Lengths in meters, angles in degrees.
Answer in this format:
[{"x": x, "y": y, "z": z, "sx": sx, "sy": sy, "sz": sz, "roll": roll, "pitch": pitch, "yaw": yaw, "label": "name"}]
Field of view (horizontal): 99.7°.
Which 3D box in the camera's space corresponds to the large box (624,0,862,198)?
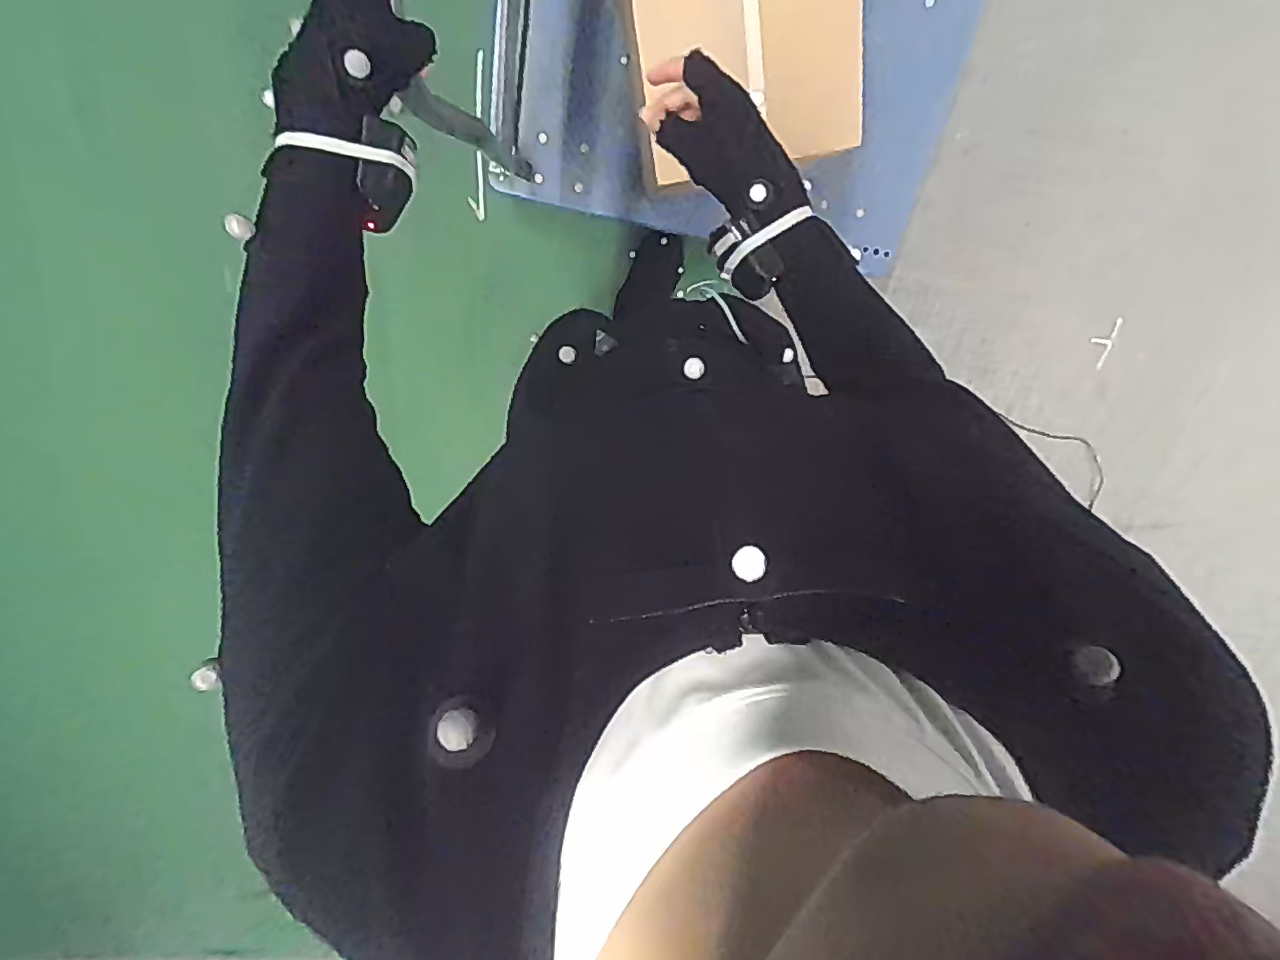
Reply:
[{"x": 0.144, "y": -0.713, "z": 0.871, "sx": 0.320, "sy": 0.320, "sz": 0.408, "roll": -9, "pitch": 113, "yaw": 2, "label": "large box"}]
